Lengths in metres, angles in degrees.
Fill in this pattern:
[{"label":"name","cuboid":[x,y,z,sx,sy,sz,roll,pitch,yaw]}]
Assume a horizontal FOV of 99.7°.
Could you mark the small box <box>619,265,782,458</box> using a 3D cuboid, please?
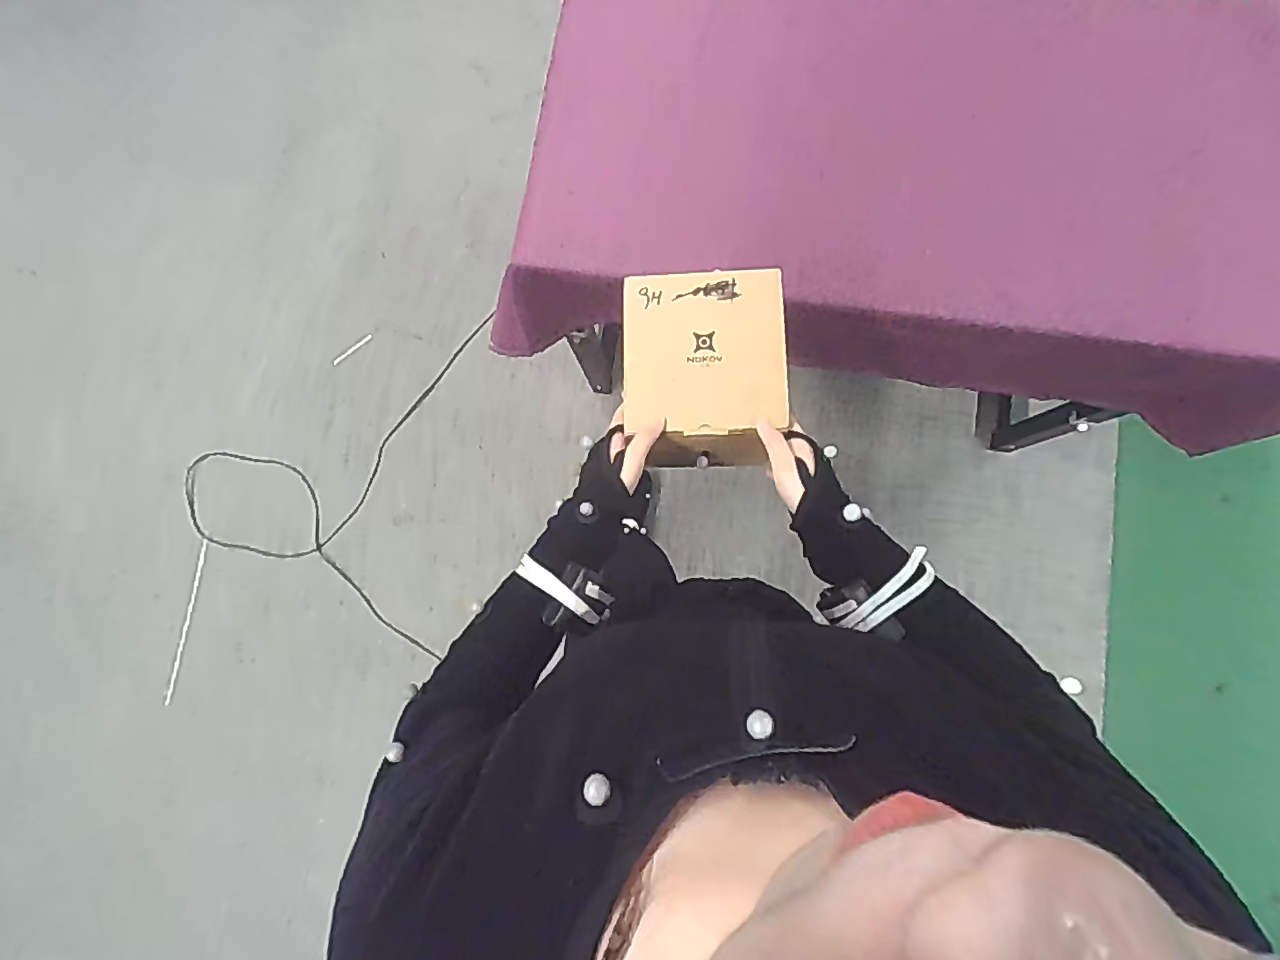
[{"label":"small box","cuboid":[0.069,-0.122,0.629,0.168,0.176,0.179,-1,80,6]}]
